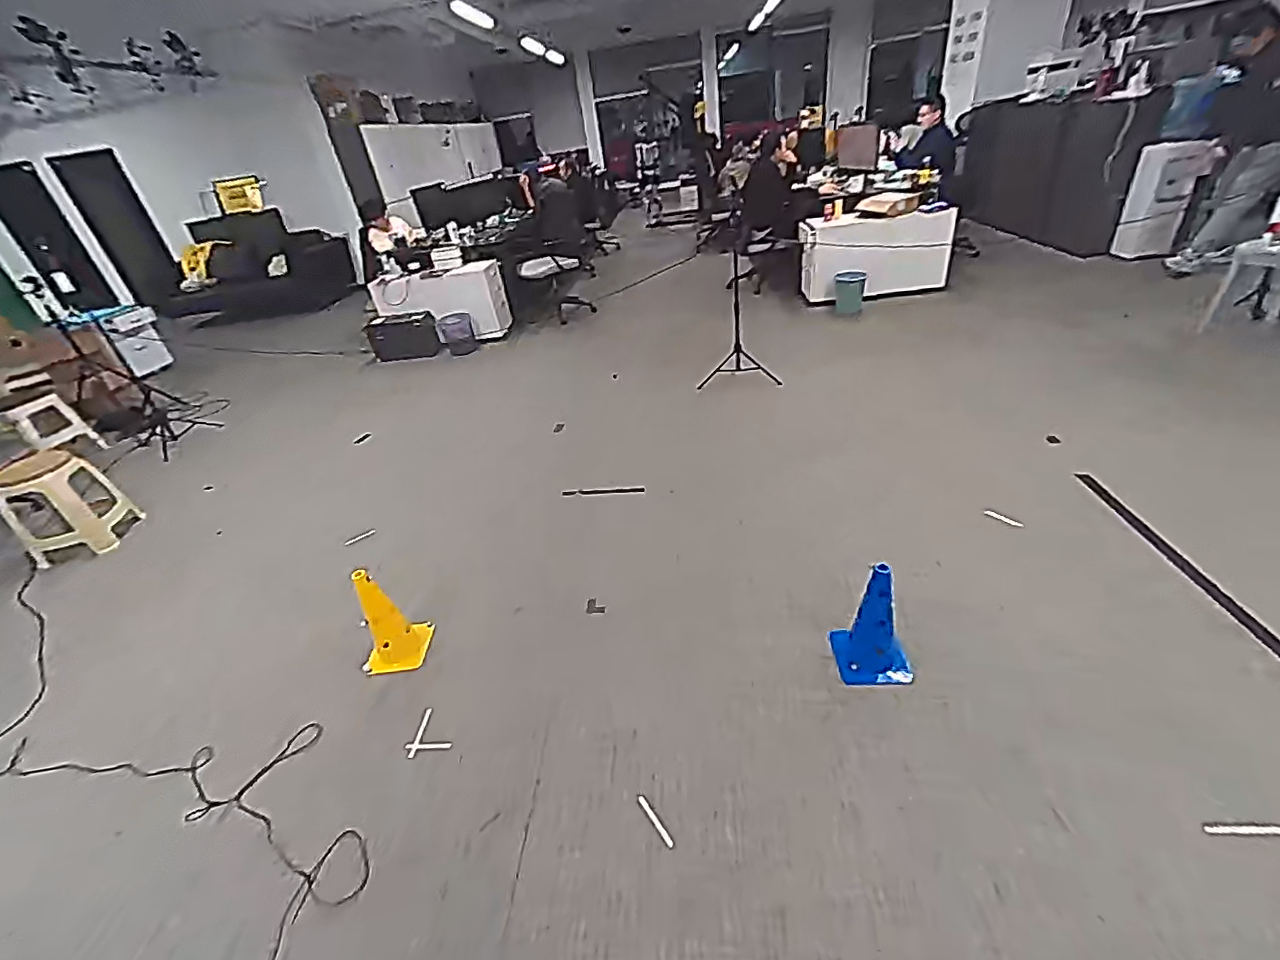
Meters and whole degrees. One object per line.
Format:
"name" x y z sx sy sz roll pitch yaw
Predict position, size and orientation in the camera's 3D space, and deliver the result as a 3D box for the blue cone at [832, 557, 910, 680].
"blue cone" 0.664 0.377 1.522 0.193 0.380 0.192 -4 32 8
